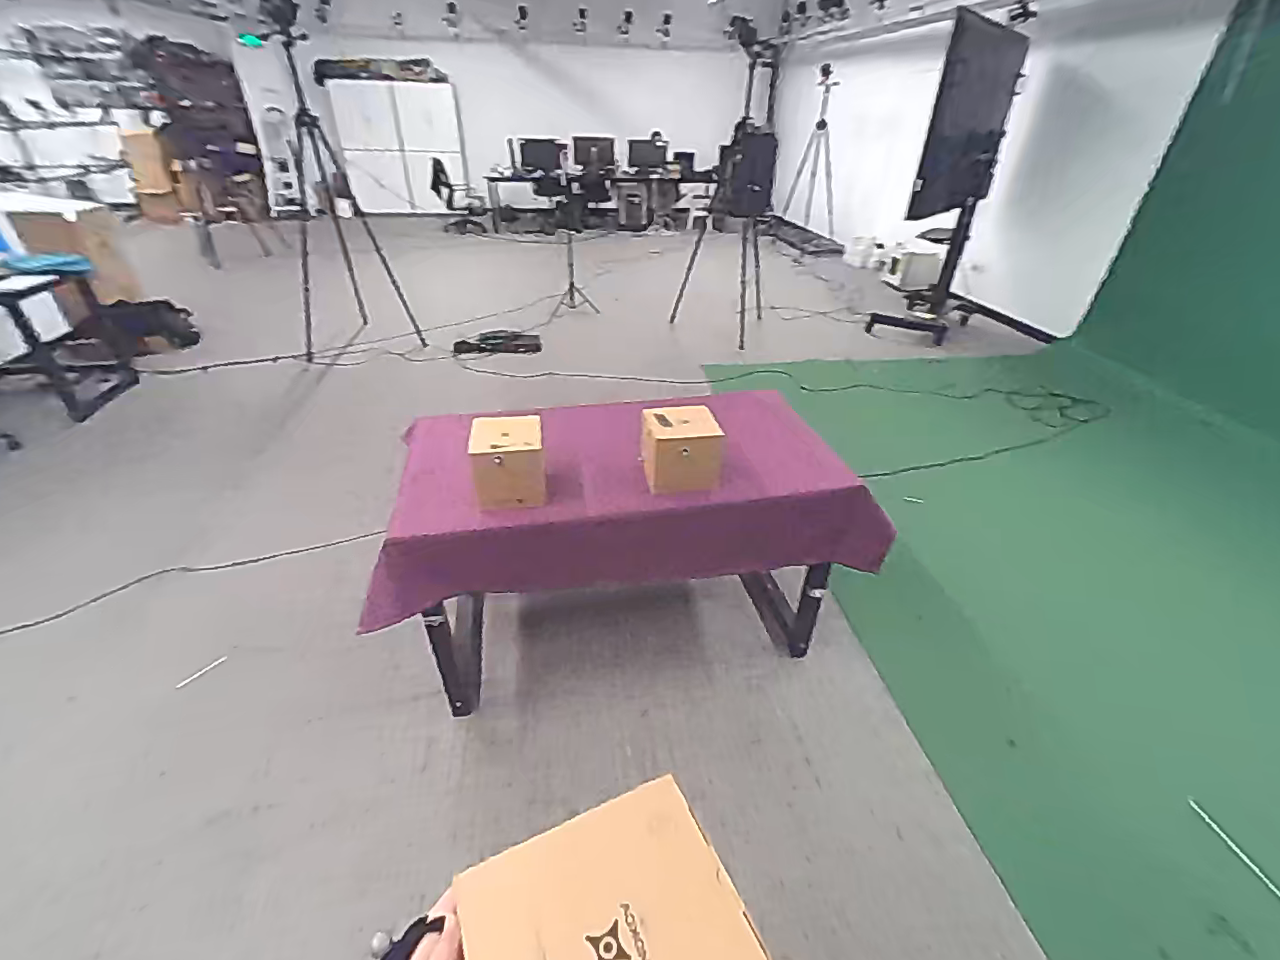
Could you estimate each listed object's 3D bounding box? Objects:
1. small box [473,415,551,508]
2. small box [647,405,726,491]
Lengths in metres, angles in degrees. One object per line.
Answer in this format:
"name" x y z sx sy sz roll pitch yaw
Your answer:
"small box" -0.315 -0.048 1.357 0.168 0.176 0.179 -5 34 -8
"small box" 0.115 -0.082 1.419 0.179 0.176 0.168 -4 35 -9
